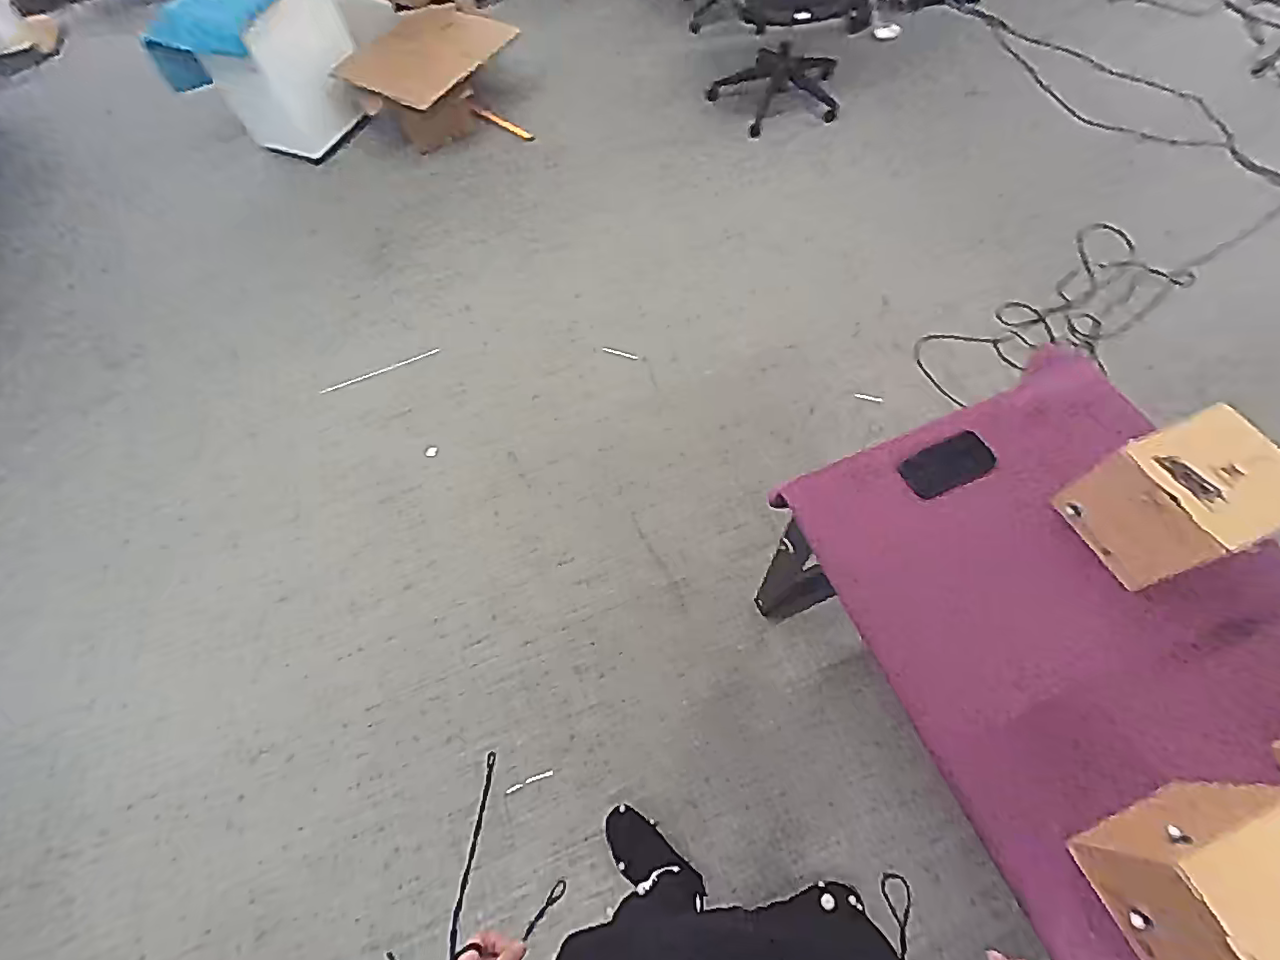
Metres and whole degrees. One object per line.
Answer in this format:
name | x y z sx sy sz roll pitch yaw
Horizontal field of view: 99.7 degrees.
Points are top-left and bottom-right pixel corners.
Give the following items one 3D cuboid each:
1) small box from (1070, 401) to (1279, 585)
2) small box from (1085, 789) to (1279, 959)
small box | 0.758 0.026 0.756 0.179 0.176 0.168 -23 63 -6
small box | 0.631 0.440 0.558 0.179 0.176 0.168 -22 63 -6
